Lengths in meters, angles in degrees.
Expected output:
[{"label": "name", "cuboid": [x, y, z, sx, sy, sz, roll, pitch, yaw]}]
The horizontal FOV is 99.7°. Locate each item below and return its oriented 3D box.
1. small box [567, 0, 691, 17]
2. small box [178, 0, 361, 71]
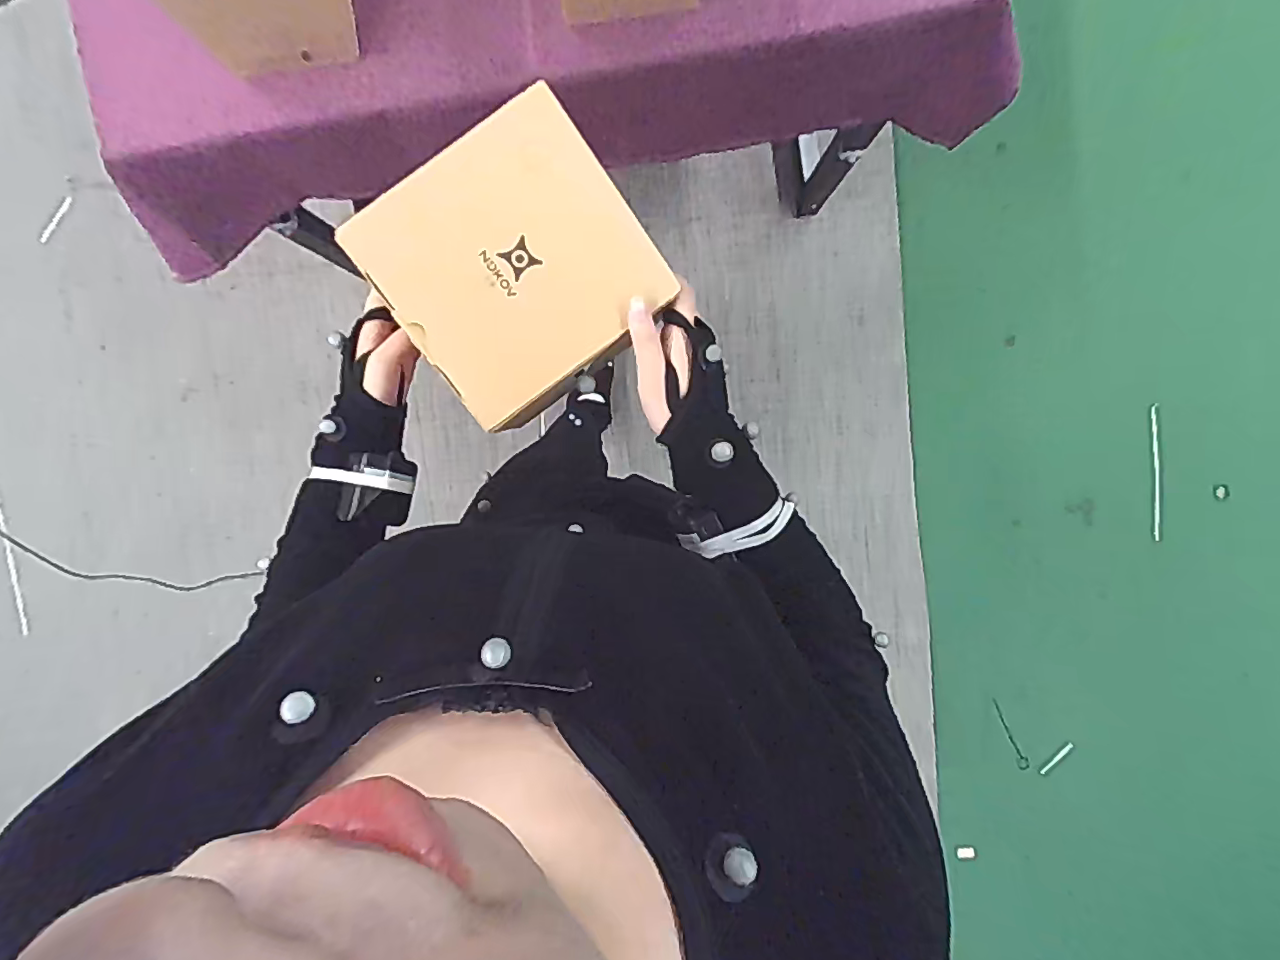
[{"label": "small box", "cuboid": [-0.017, -0.674, 0.612, 0.179, 0.176, 0.168, -7, 95, 1]}, {"label": "small box", "cuboid": [-0.449, -0.621, 0.619, 0.168, 0.176, 0.179, -6, 94, 2]}]
